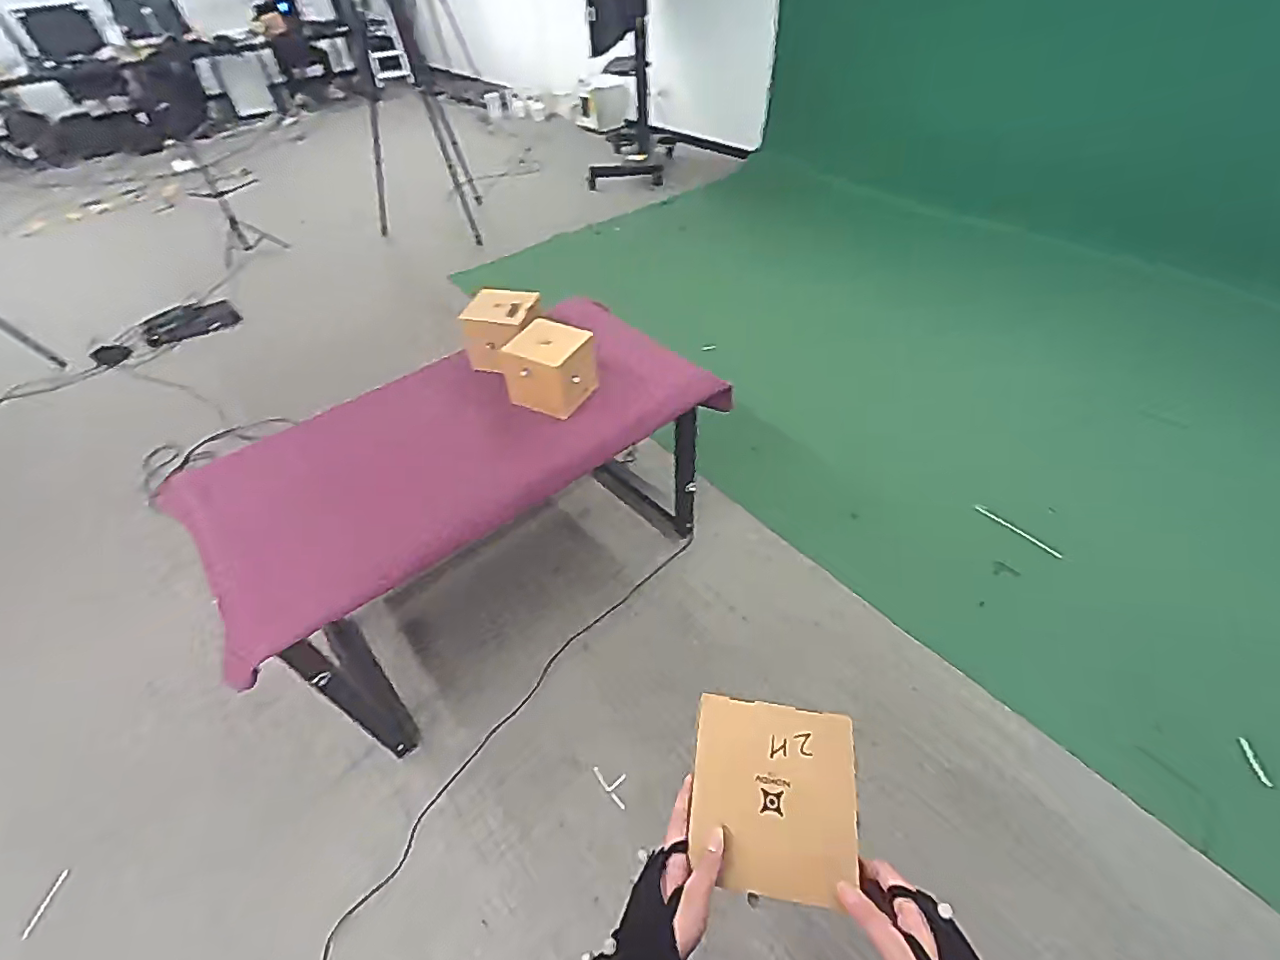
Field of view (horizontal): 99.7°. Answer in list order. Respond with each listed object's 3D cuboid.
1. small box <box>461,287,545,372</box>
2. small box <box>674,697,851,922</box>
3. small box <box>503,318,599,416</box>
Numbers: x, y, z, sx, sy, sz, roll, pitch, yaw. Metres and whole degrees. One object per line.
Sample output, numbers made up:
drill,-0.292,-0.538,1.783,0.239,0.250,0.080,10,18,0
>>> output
small box,-0.369,-0.419,1.524,0.179,0.176,0.168,9,48,11
small box,0.131,0.365,0.613,0.168,0.176,0.179,6,57,7
small box,-0.221,-0.288,1.399,0.179,0.176,0.168,20,51,21
